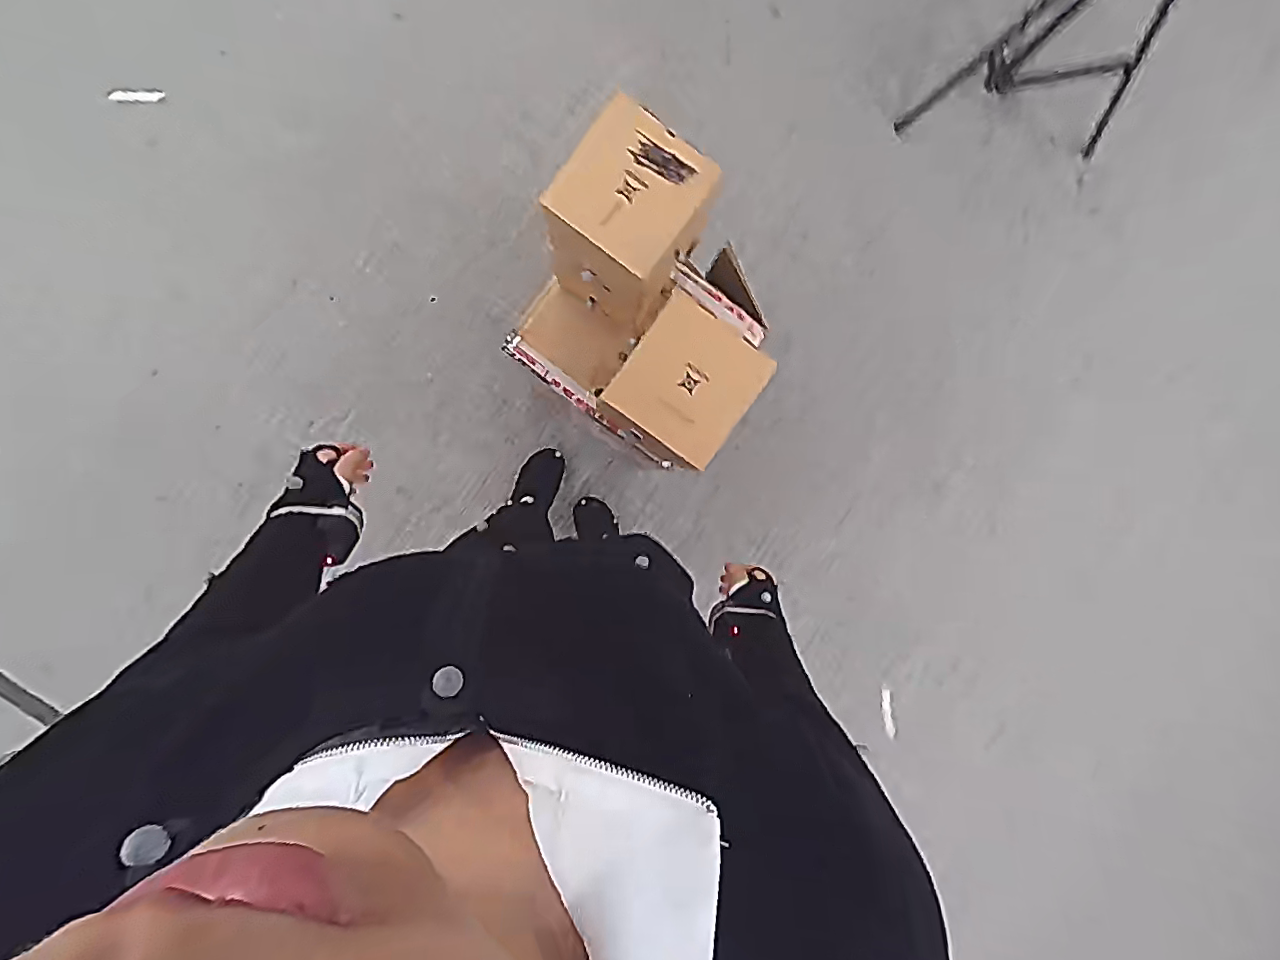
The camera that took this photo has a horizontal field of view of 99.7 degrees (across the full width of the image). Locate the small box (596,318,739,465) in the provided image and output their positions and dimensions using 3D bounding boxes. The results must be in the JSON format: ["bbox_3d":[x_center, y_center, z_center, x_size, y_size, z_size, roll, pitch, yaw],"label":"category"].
[{"bbox_3d":[0.041,-0.143,0.936,0.168,0.176,0.179,37,90,-5],"label":"small box"}]

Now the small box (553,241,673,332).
[{"bbox_3d":[-0.028,-0.383,0.922,0.168,0.176,0.179,34,90,-3],"label":"small box"}]

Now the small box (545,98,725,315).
[{"bbox_3d":[-0.010,-0.365,0.759,0.168,0.176,0.179,37,91,-3],"label":"small box"}]
